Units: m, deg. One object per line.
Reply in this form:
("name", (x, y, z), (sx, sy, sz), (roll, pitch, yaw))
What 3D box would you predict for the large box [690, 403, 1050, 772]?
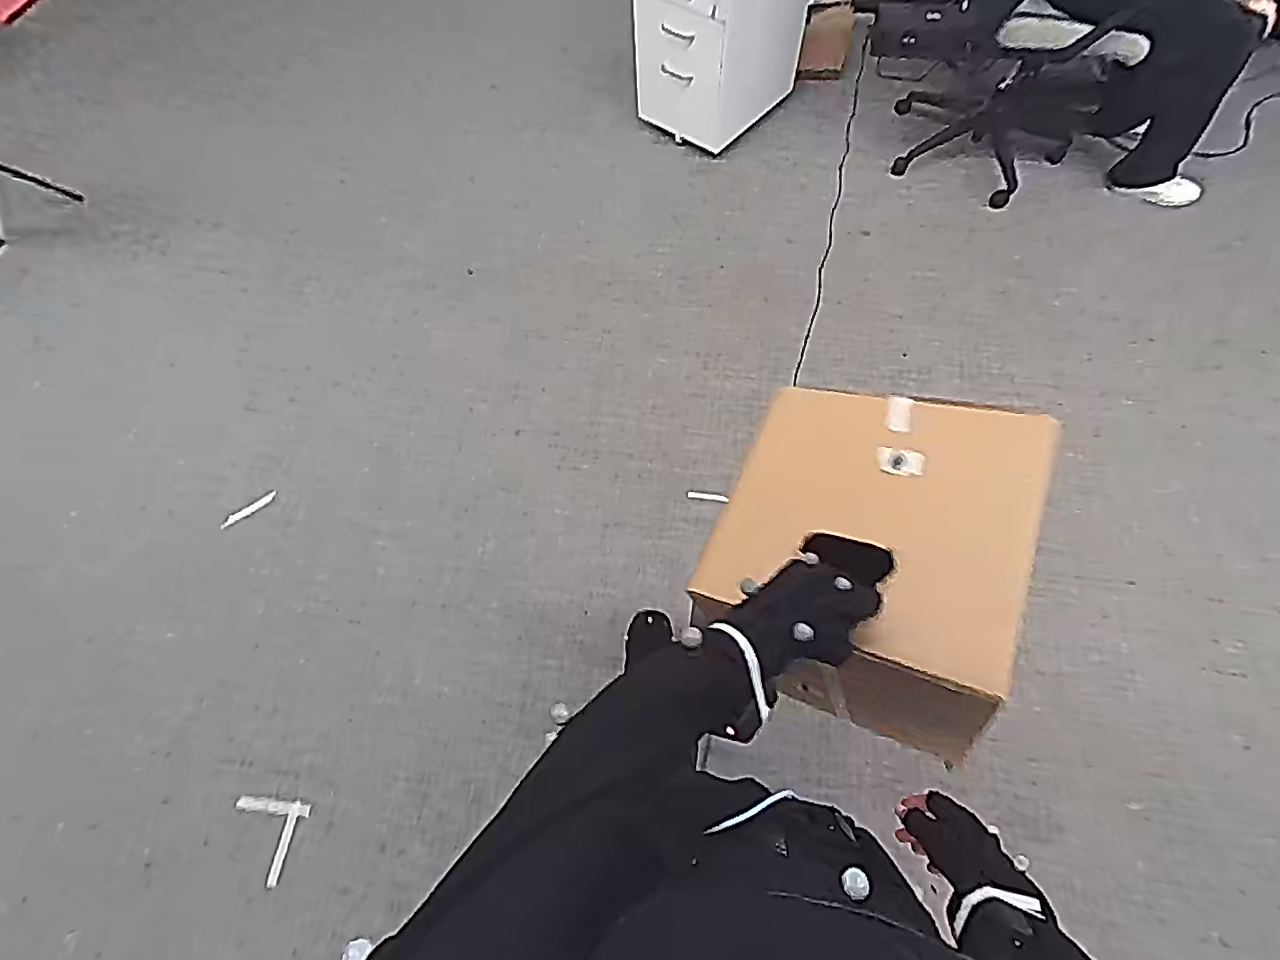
("large box", (0.322, 0.147, 0.744), (0.320, 0.408, 0.320), (16, 66, 34))
